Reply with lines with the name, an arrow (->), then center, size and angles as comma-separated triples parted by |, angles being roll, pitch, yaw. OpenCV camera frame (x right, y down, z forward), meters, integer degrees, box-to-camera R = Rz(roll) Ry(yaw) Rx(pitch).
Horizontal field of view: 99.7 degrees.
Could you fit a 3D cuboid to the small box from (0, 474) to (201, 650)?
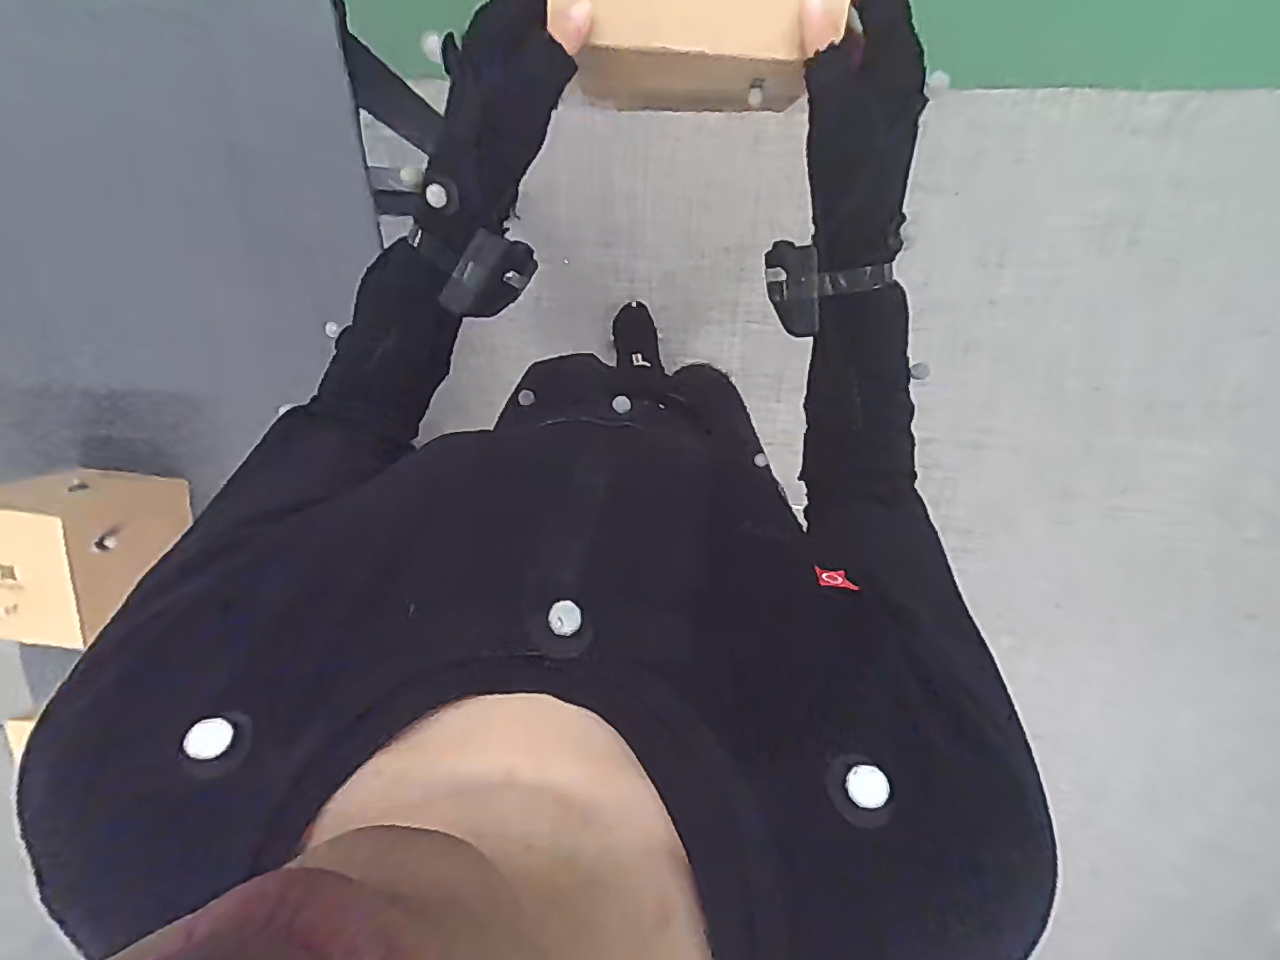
small box -> -0.737, 0.097, 0.721 | 0.168, 0.176, 0.179 | 7, 105, 3
